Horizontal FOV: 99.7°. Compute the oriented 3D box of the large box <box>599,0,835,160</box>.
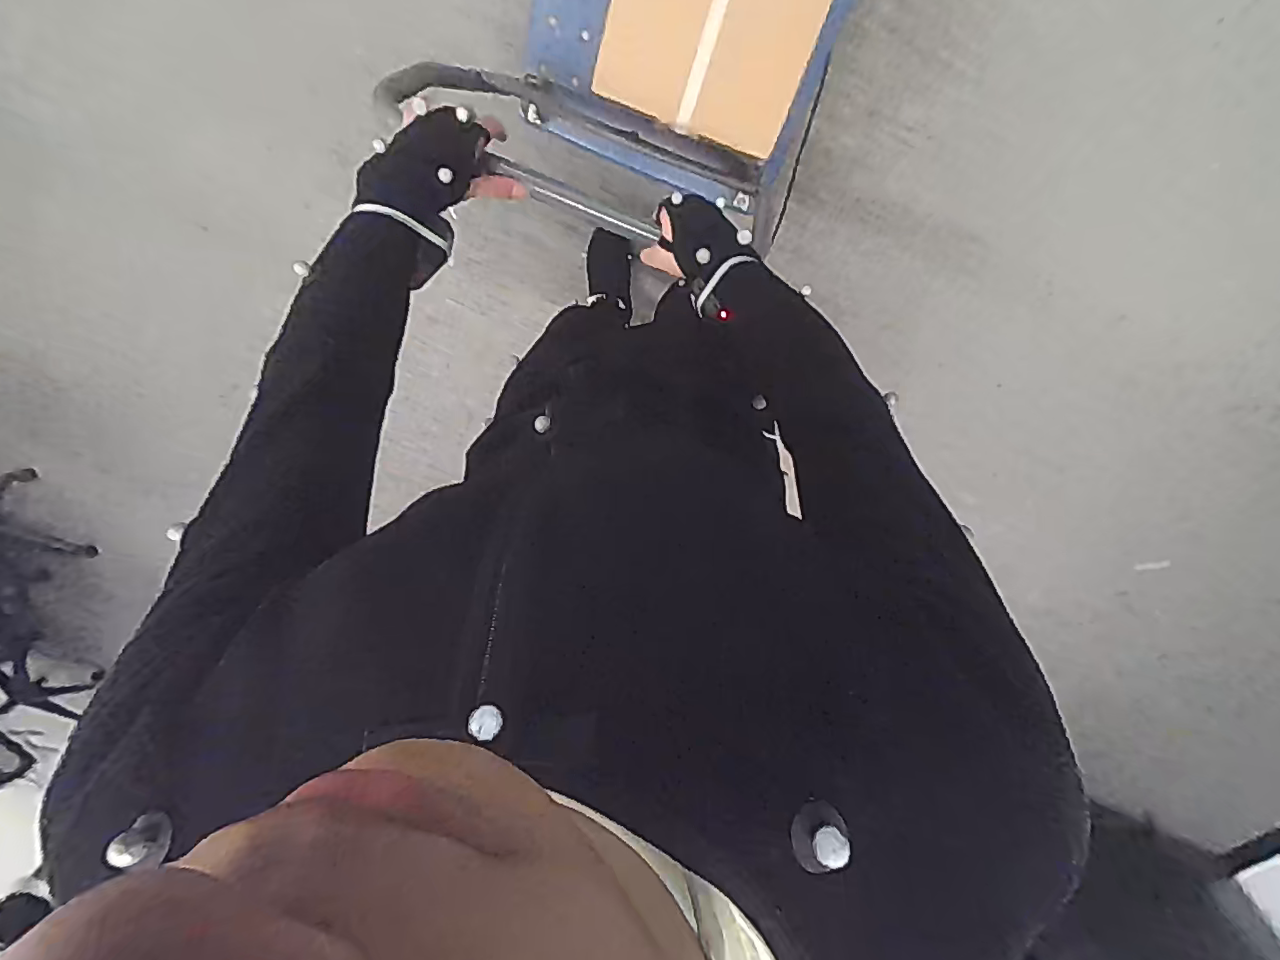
[{"bbox_3d":[0.152,-0.811,0.911,0.320,0.320,0.408,19,120,-4],"label":"large box"}]
